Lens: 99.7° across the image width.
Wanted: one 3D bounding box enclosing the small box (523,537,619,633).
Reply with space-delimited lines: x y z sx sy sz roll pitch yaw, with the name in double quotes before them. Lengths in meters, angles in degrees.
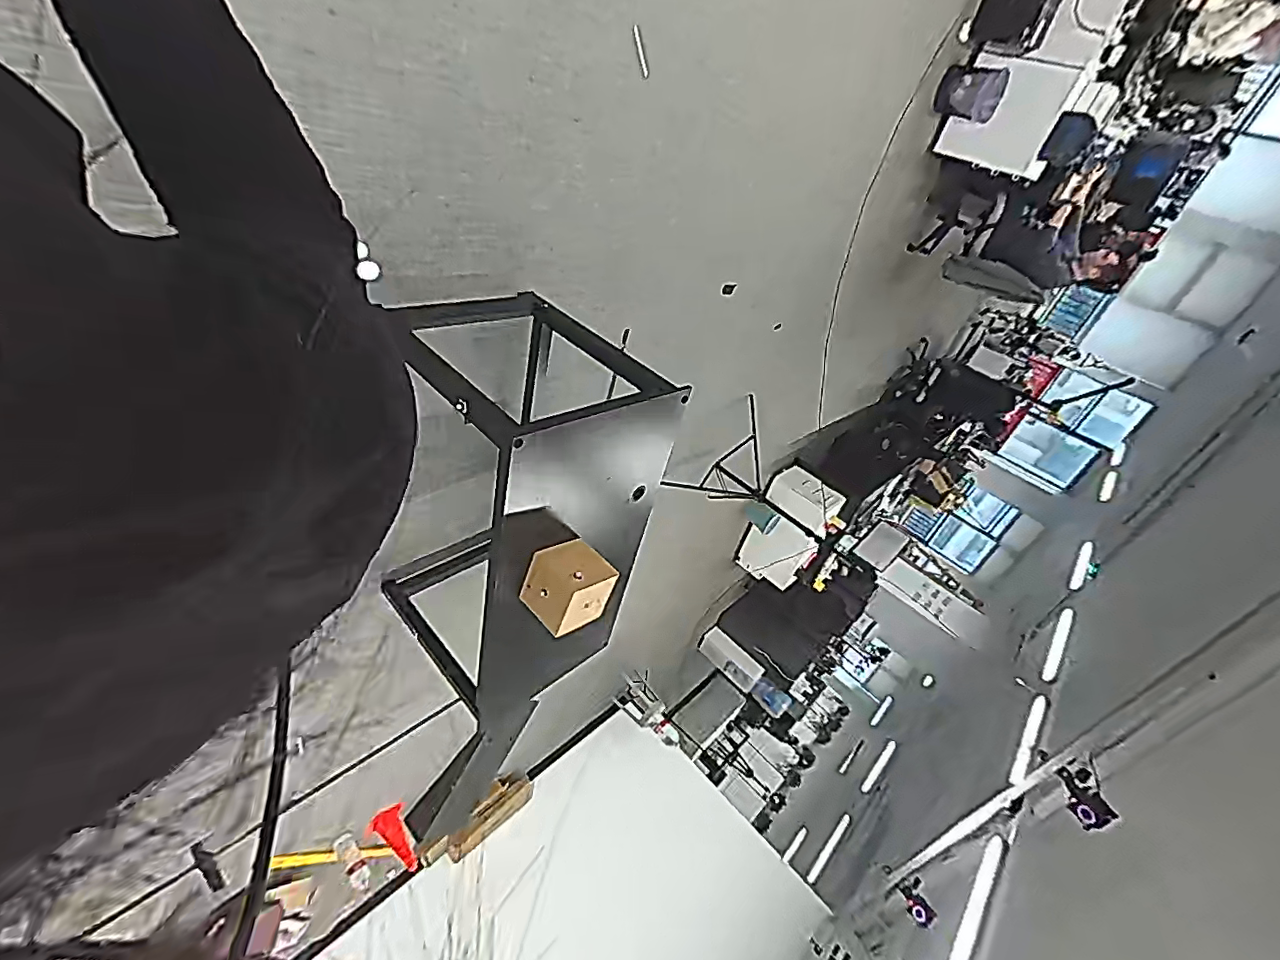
"small box" -0.194 0.280 1.485 0.179 0.176 0.168 -14 135 -51
